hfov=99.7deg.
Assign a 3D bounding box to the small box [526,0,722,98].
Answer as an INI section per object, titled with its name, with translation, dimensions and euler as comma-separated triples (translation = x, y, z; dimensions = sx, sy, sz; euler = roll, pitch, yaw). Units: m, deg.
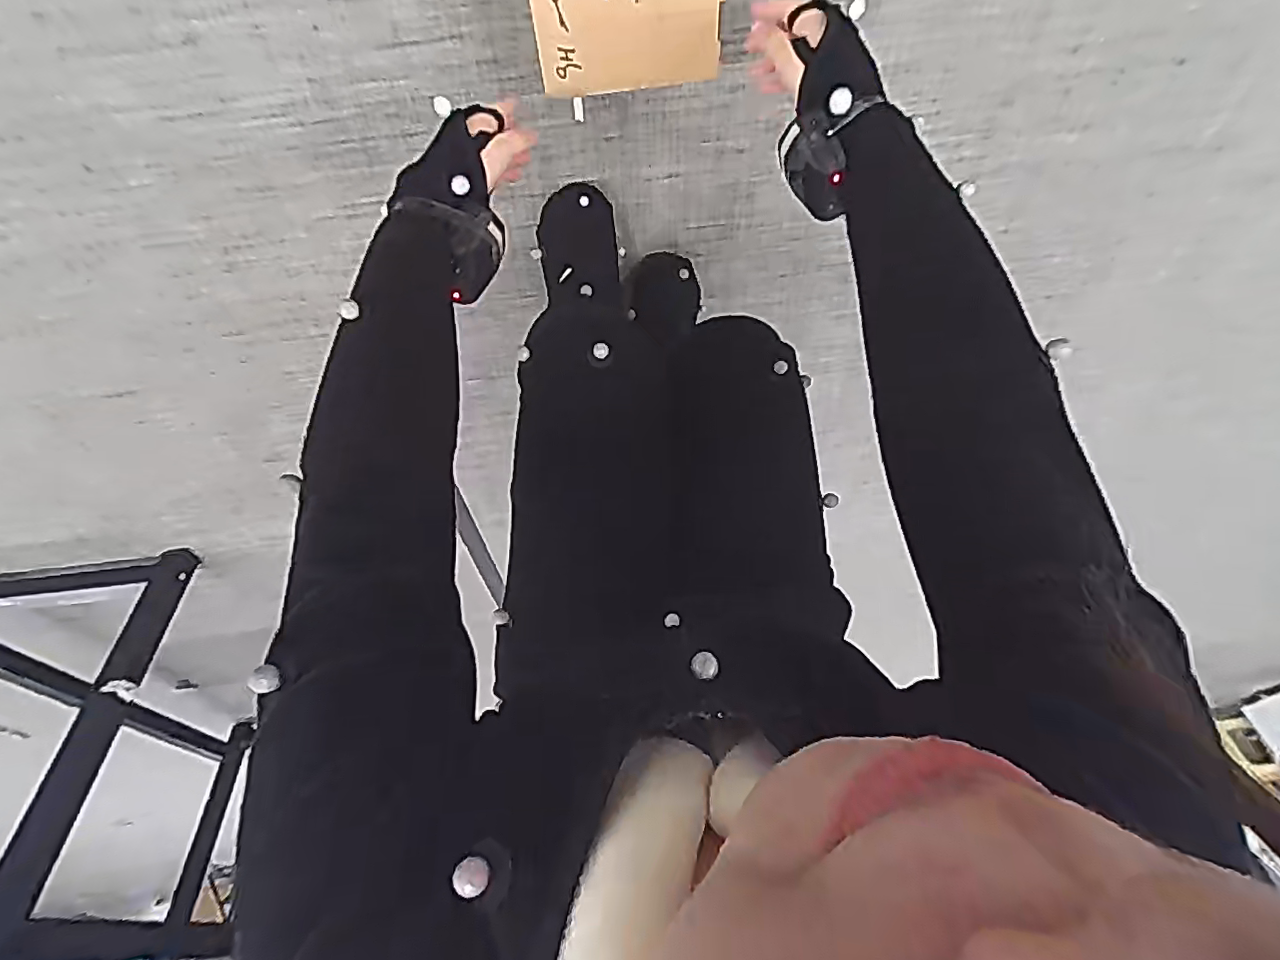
[small box]
translation = -0.025, -0.493, 0.514
dimensions = 0.179, 0.176, 0.168
euler = -8, 140, -2
